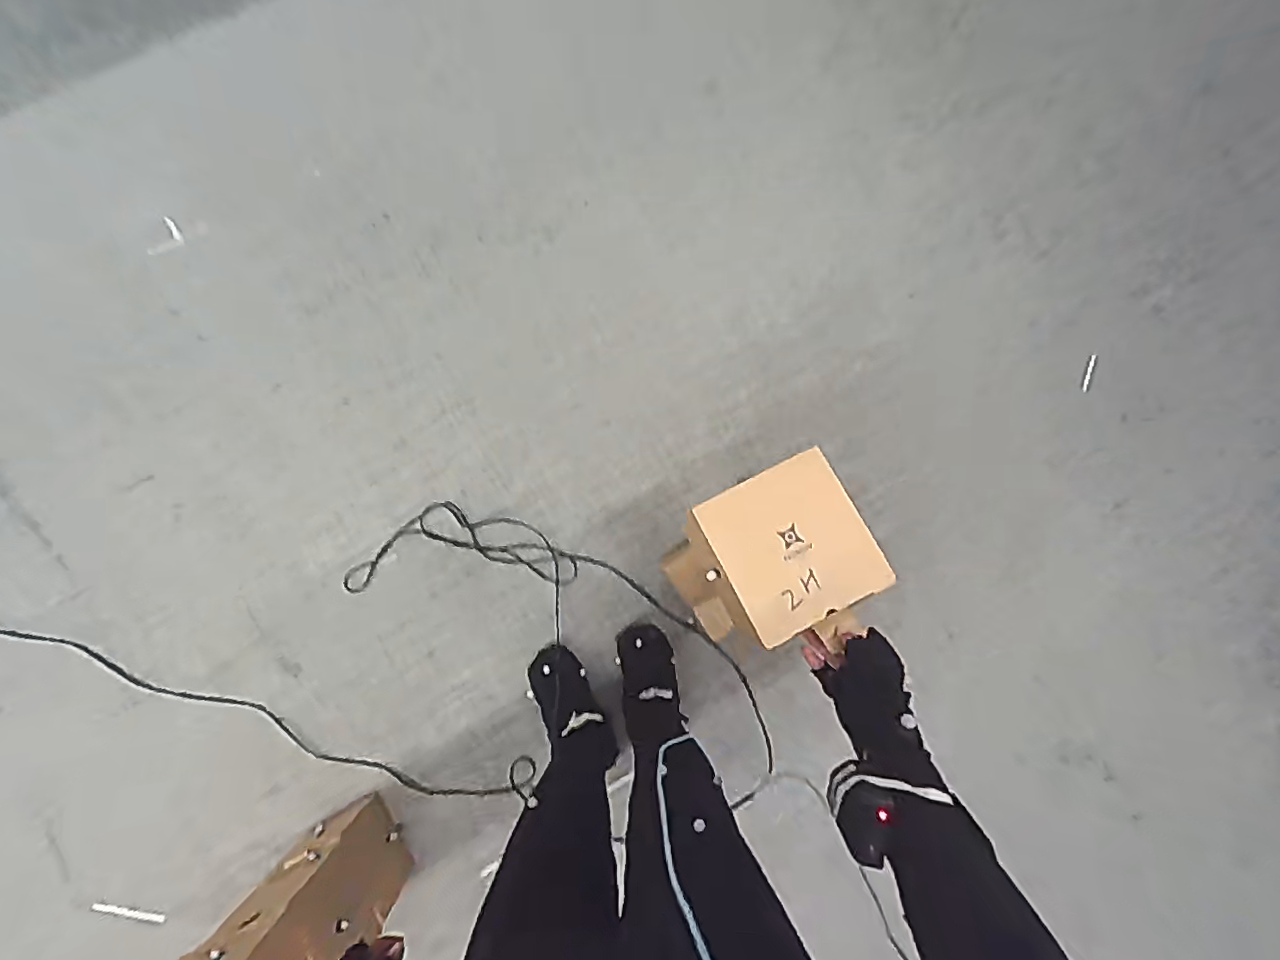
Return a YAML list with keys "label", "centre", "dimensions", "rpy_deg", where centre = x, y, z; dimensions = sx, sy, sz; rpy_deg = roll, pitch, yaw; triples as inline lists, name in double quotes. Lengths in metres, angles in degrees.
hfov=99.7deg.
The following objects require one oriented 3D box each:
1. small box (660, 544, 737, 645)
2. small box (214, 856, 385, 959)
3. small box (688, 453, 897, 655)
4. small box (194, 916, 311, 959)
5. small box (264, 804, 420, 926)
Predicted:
- label: "small box"
  centre: [0.160, 0.214, 1.141]
  dimensions: [0.168, 0.176, 0.179]
  rpy_deg: [-33, 88, -6]
- label: "small box"
  centre: [-0.555, 0.760, 0.879]
  dimensions: [0.168, 0.176, 0.179]
  rpy_deg: [-28, 88, -6]
- label: "small box"
  centre: [0.170, 0.095, 0.672]
  dimensions: [0.168, 0.176, 0.179]
  rpy_deg: [-27, 79, -4]
- label: "small box"
  centre: [-0.552, 0.748, 0.717]
  dimensions: [0.168, 0.176, 0.179]
  rpy_deg: [-23, 86, -5]
- label: "small box"
  centre: [-0.564, 0.767, 1.046]
  dimensions: [0.168, 0.176, 0.179]
  rpy_deg: [-32, 86, -3]
